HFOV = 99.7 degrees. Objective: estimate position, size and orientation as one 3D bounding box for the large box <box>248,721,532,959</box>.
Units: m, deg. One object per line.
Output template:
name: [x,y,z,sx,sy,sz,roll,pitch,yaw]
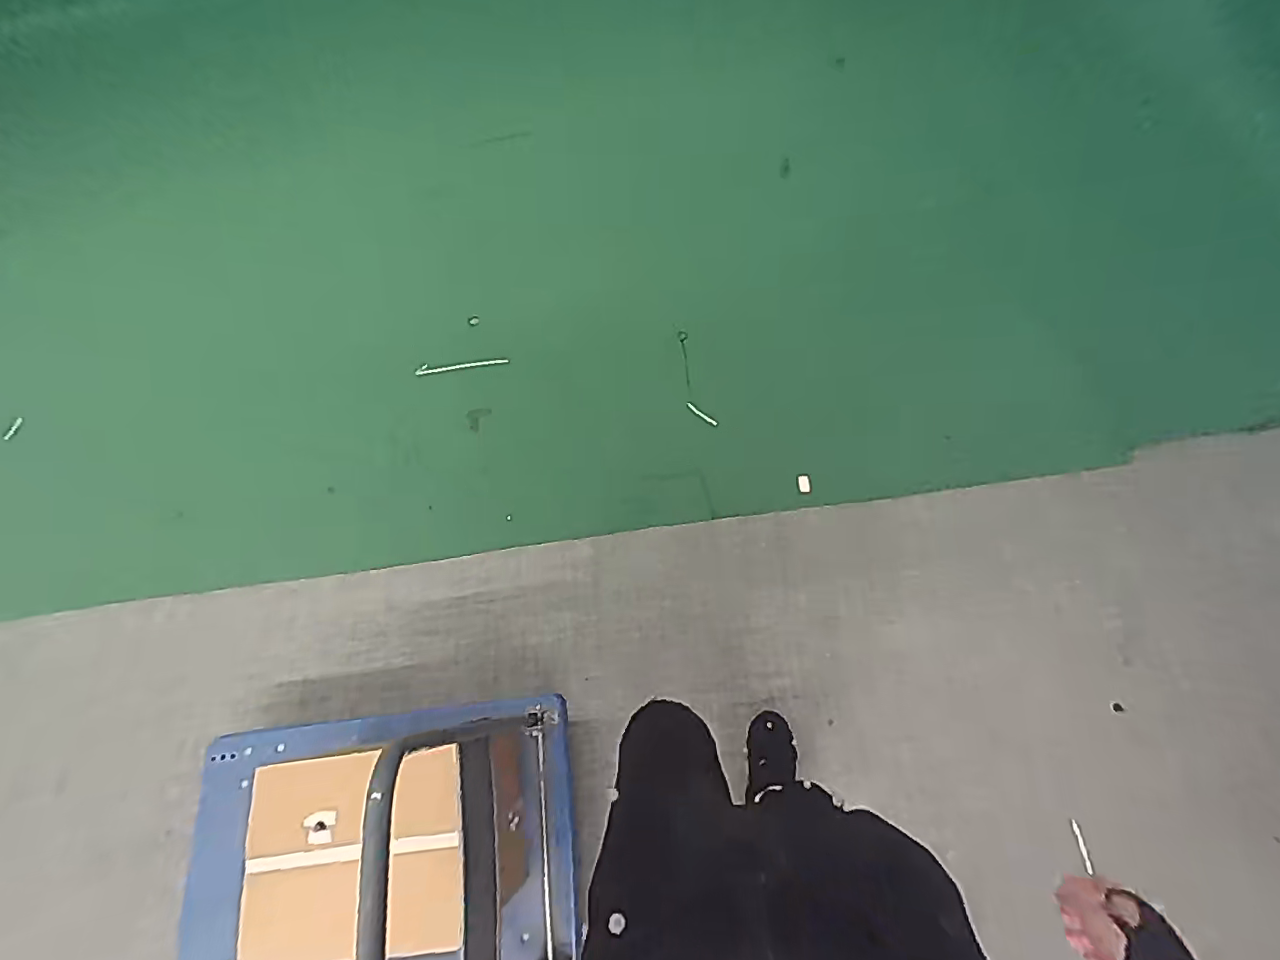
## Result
large box: [-0.458,0.684,1.072,0.408,0.320,0.320,-9,69,3]
